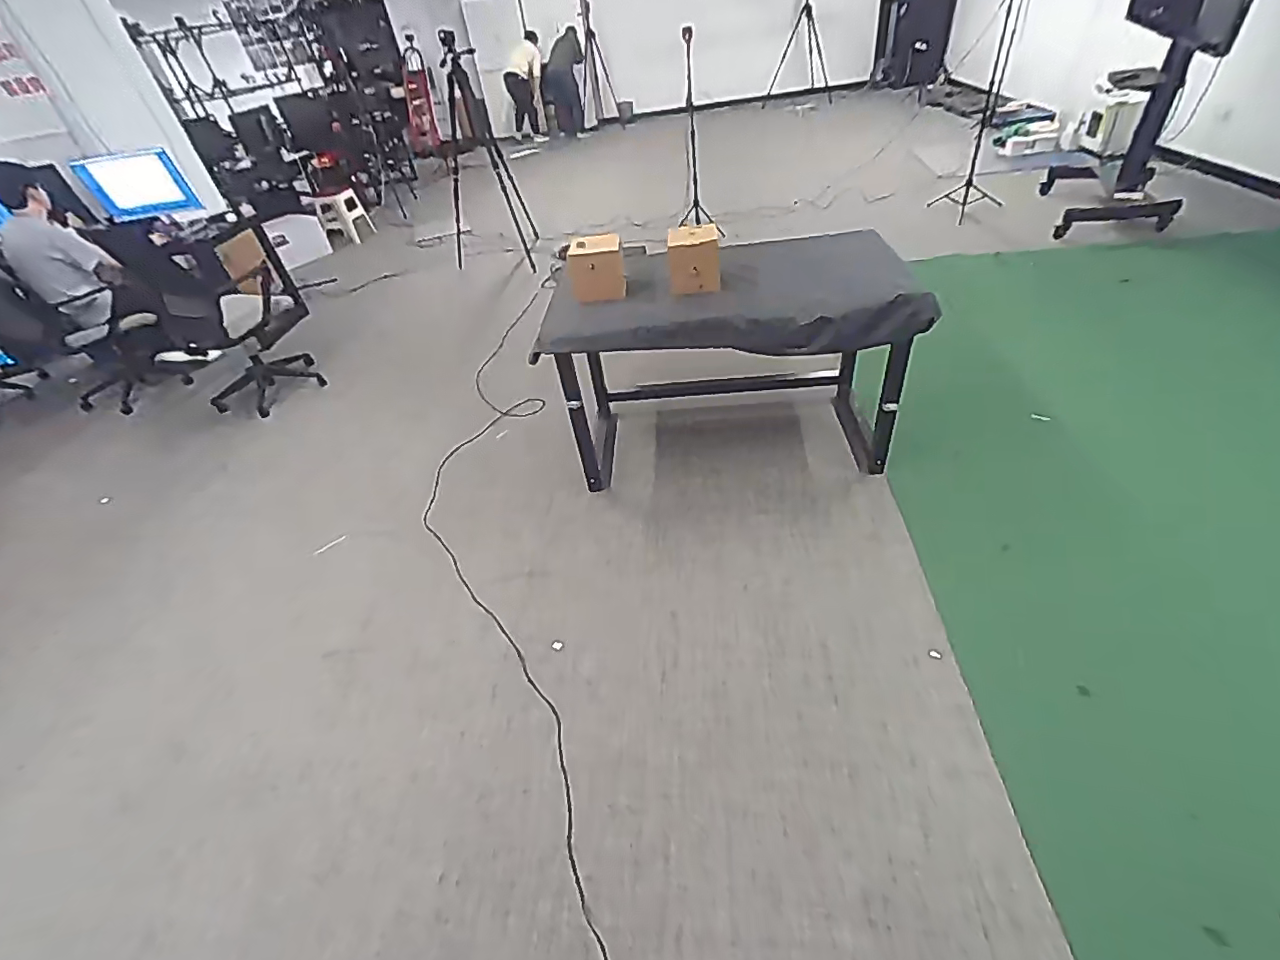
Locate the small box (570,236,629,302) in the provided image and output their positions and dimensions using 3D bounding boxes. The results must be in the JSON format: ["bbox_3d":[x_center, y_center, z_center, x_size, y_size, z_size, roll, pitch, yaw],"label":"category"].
[{"bbox_3d":[-0.137,-0.736,1.893,0.179,0.176,0.168,-4,41,4],"label":"small box"}]

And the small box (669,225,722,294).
[{"bbox_3d":[0.192,-0.749,1.849,0.168,0.176,0.179,-3,42,7],"label":"small box"}]
